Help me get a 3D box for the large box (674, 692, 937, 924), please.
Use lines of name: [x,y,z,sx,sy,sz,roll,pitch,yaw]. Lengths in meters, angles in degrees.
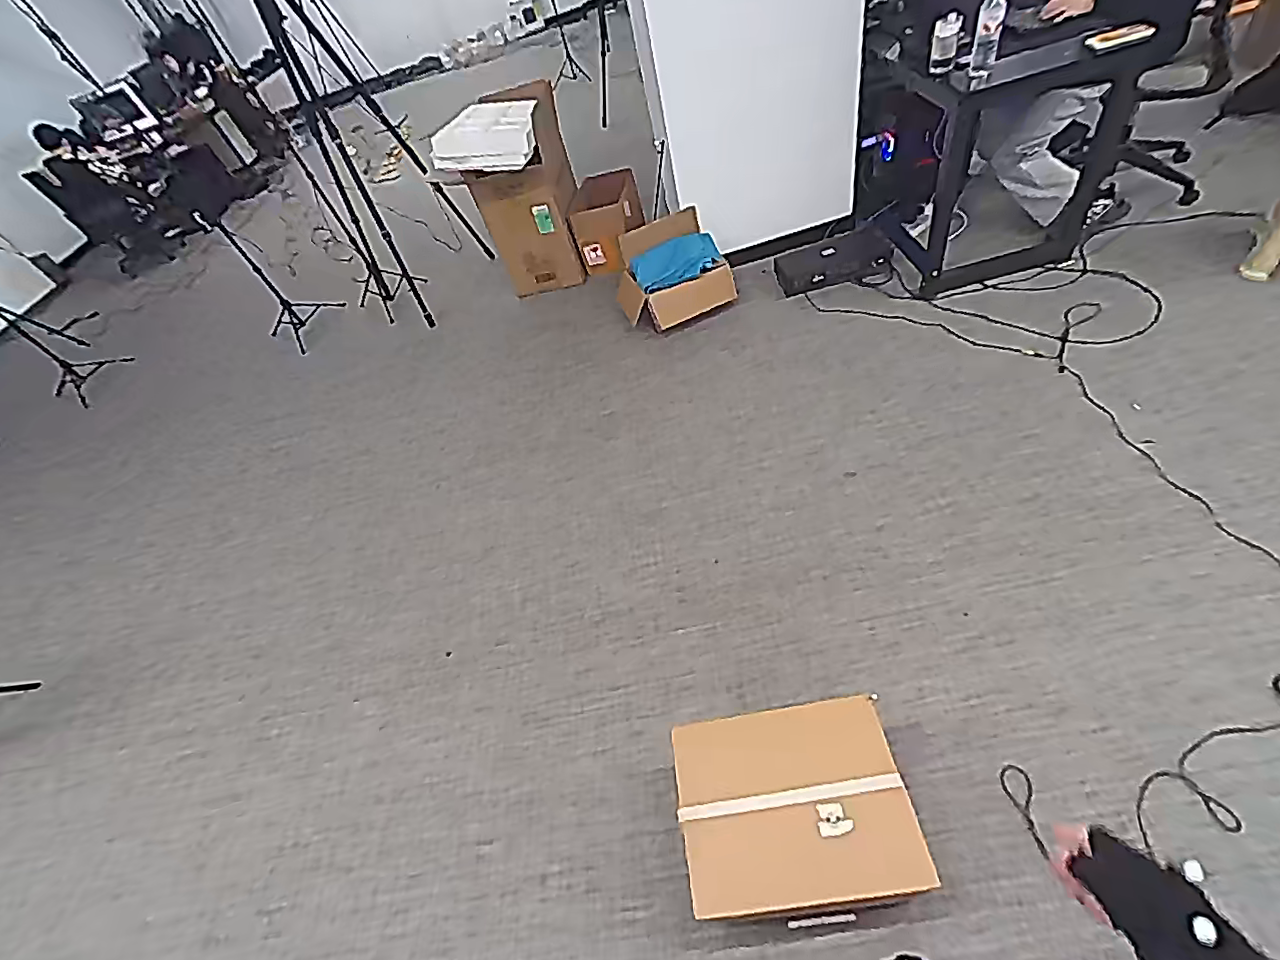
large box: [0.308,0.674,1.100,0.408,0.320,0.320,-13,49,6]
